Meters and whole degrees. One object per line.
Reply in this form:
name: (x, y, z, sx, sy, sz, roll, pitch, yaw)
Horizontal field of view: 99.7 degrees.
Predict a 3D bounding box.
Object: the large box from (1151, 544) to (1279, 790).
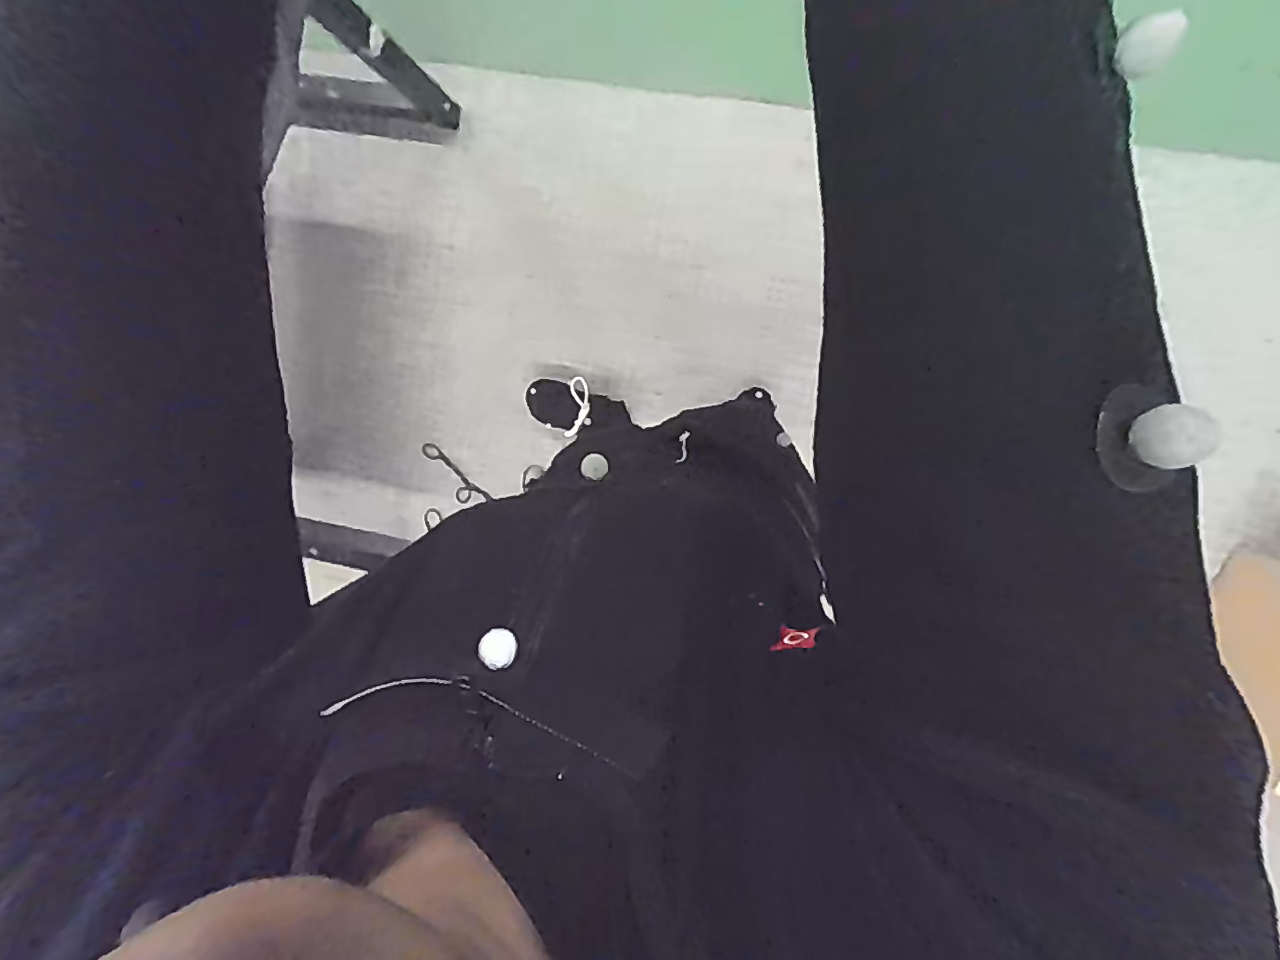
large box: (1.382, 0.393, 1.085, 0.320, 0.320, 0.408, 17, 104, 5)
